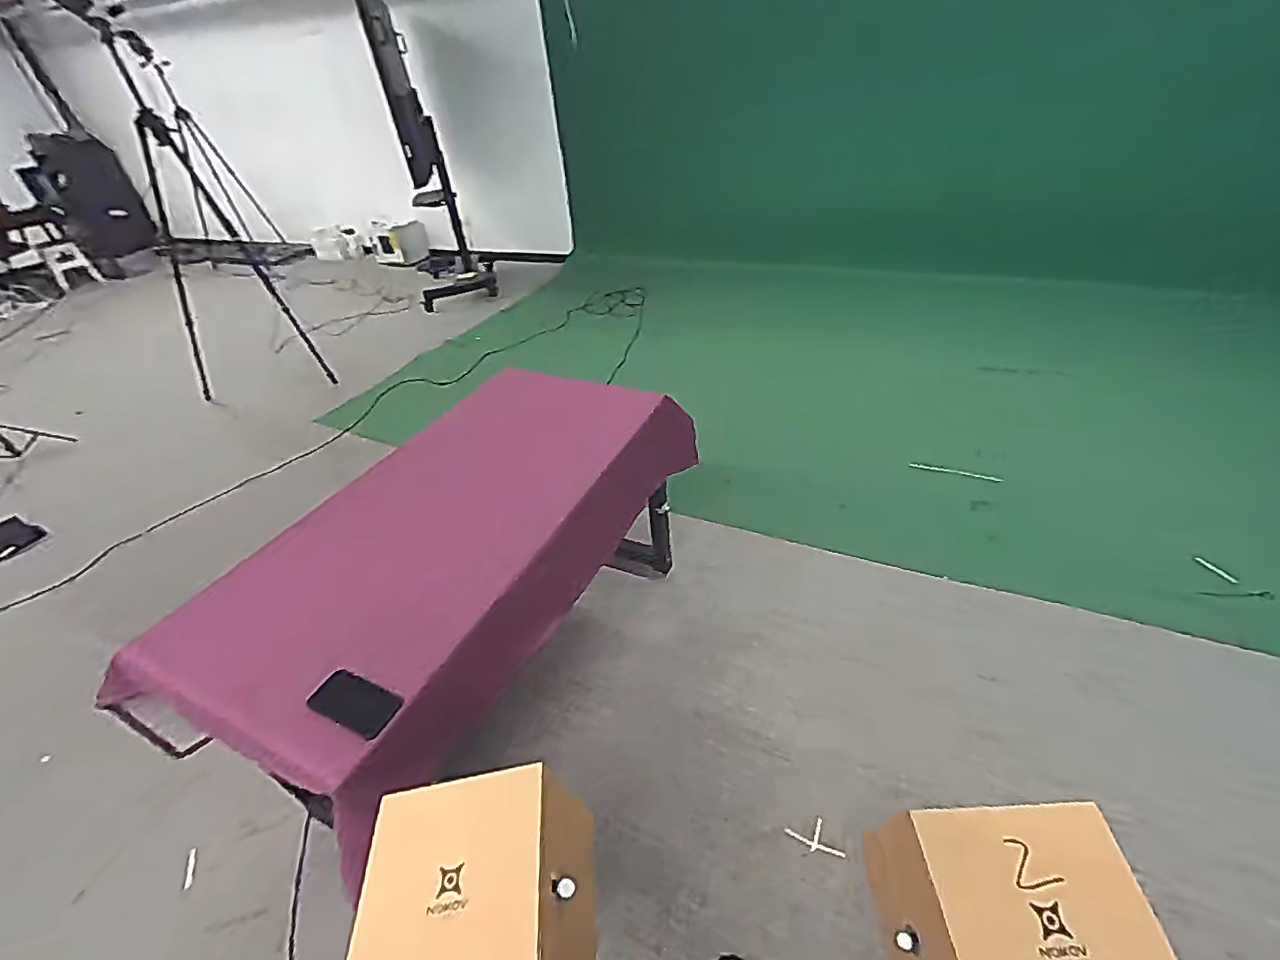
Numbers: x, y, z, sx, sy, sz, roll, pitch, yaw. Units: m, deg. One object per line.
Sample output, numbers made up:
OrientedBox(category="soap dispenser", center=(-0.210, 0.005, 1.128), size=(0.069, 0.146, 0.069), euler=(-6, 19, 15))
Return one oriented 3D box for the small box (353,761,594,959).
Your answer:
OrientedBox(category="small box", center=(-0.145, 0.407, 0.526), size=(0.168, 0.176, 0.179), euler=(-13, 43, 4))
